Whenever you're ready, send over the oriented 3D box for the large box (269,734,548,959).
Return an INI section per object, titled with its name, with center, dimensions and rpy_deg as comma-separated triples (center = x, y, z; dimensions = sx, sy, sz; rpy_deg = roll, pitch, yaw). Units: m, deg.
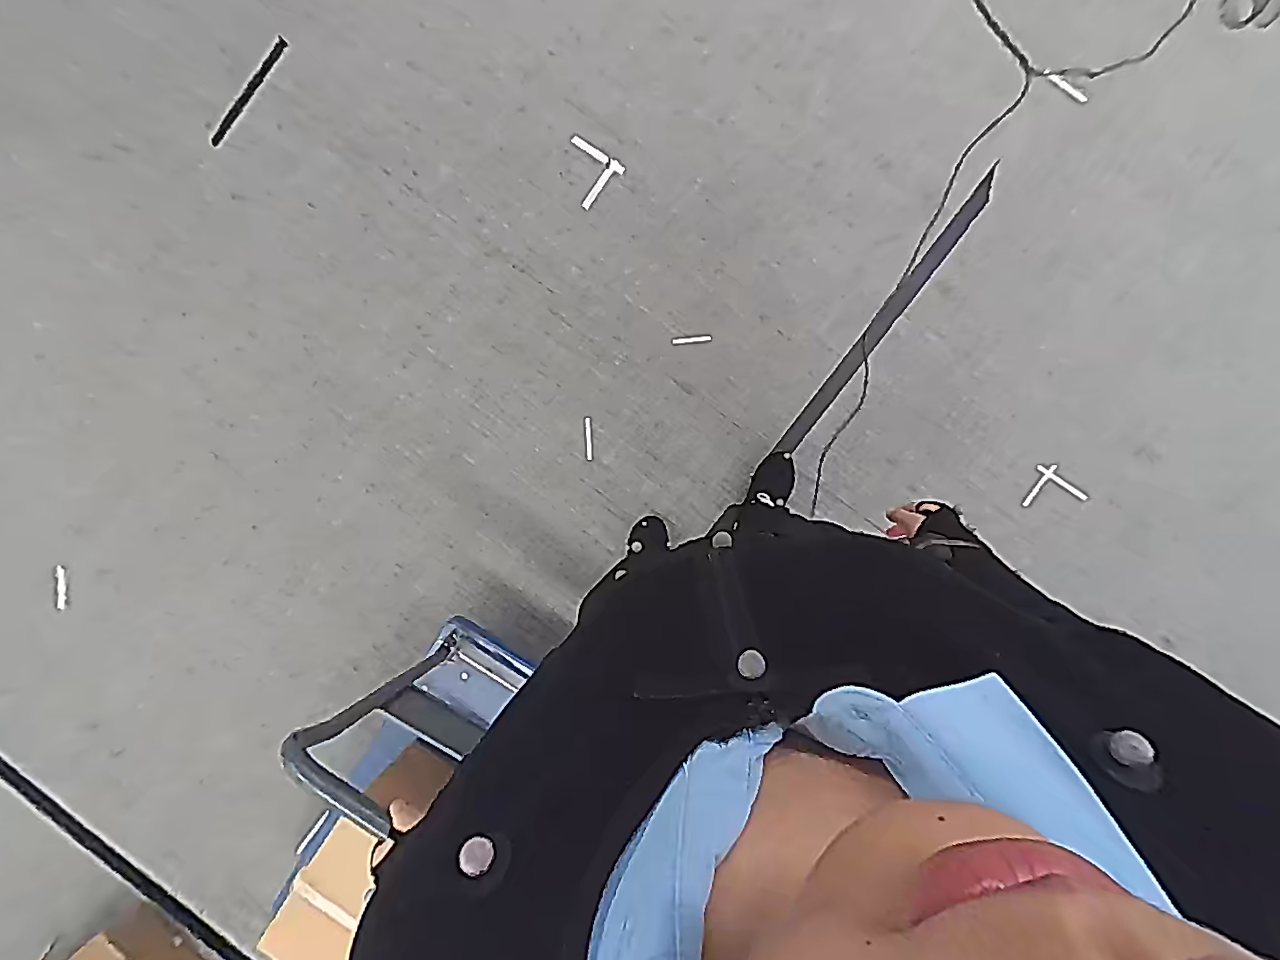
[large box]
center = -0.473, 0.853, 1.192
dimensions = 0.408, 0.320, 0.320
rpy_deg = 33, 91, 2
